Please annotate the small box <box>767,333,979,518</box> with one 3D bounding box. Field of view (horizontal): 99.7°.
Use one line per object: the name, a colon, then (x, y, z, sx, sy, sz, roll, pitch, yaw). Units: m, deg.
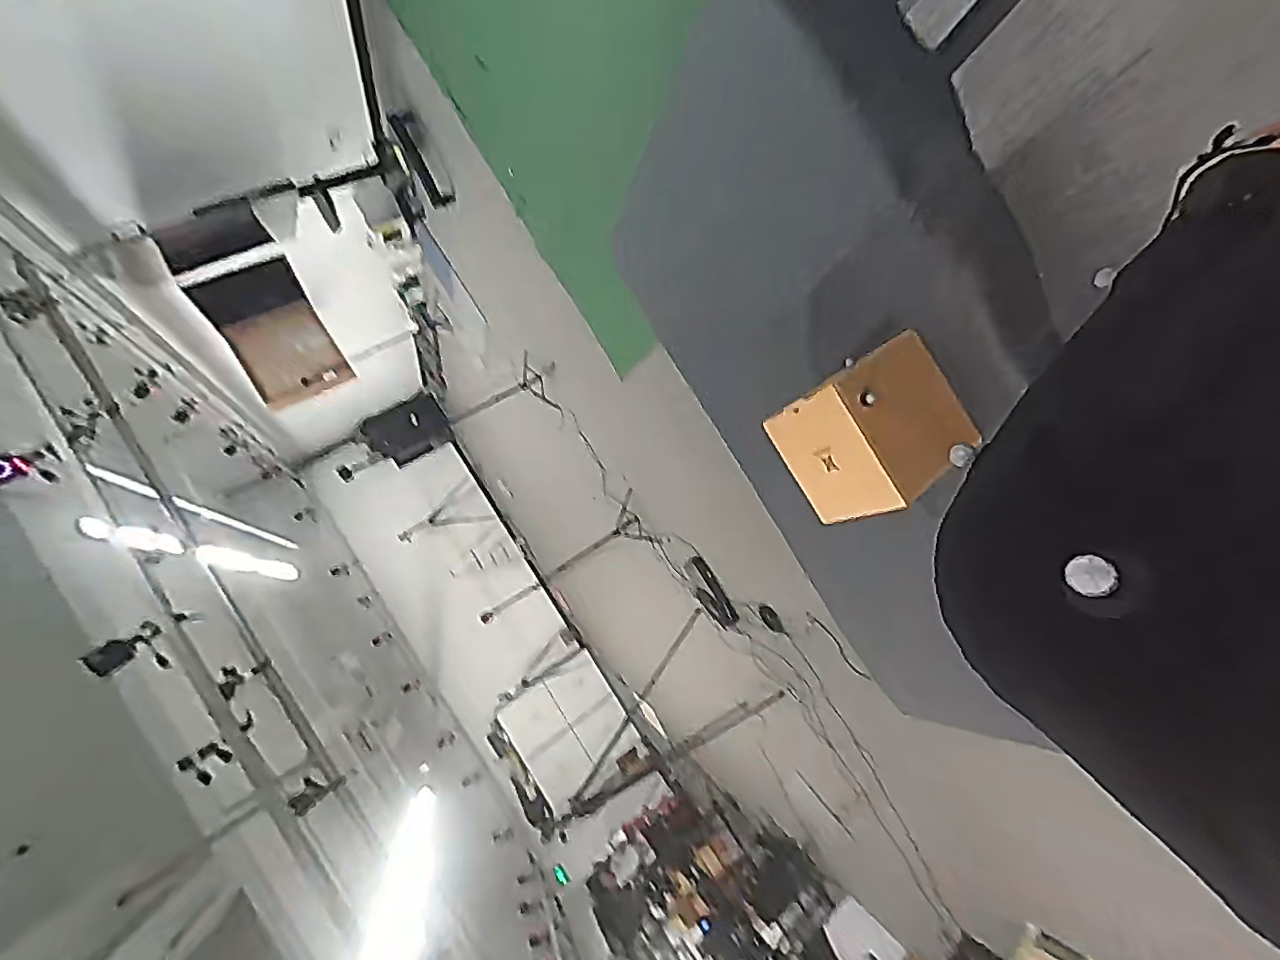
small box: (0.321, -0.071, 0.751, 0.179, 0.176, 0.168, 58, 159, 1)
